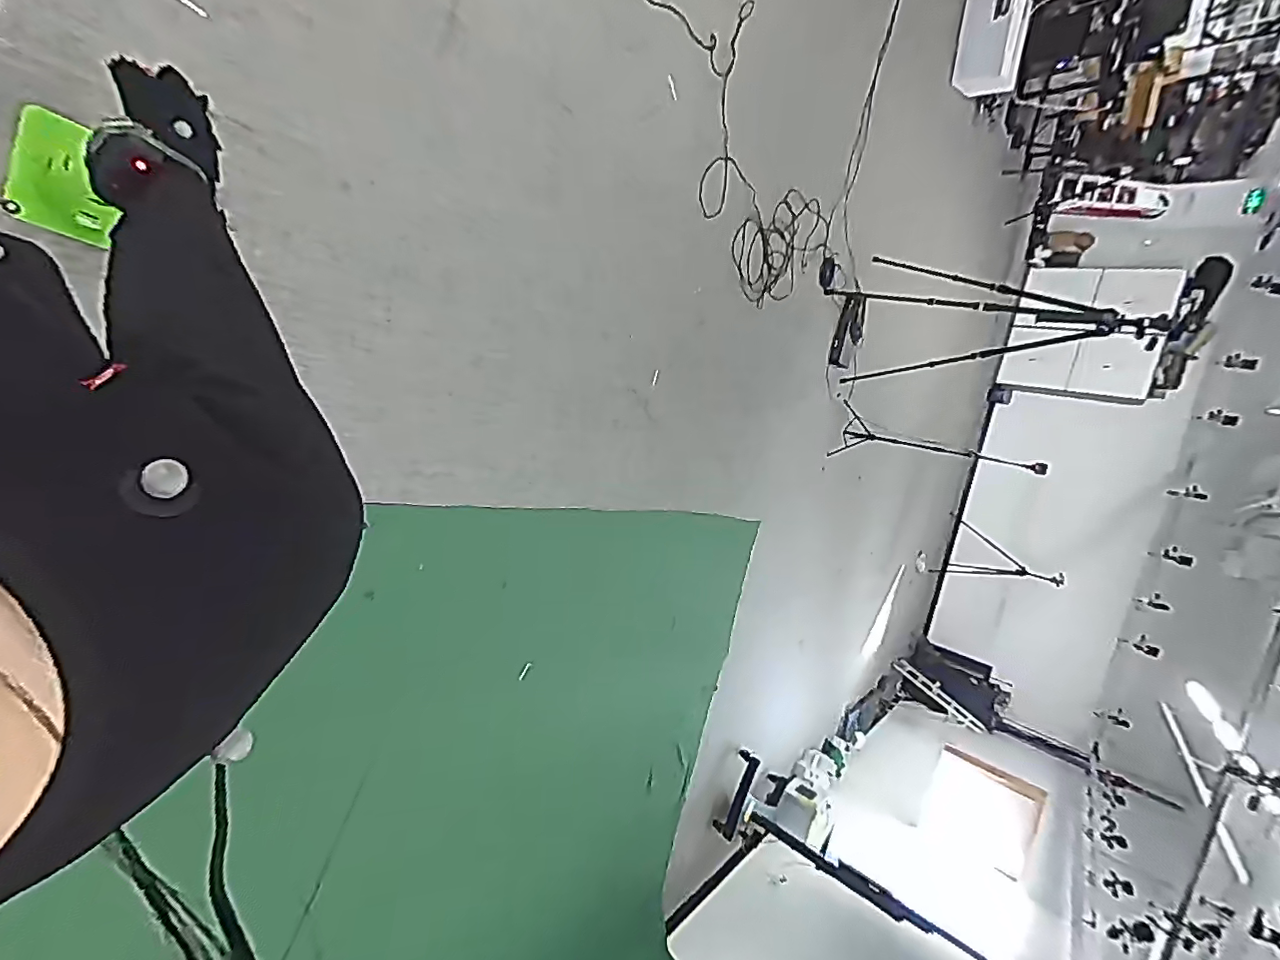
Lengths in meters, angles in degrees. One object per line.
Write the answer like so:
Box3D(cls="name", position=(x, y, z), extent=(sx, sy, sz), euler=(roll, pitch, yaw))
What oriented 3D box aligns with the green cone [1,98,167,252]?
Box3D(cls="green cone", position=(-0.897, -0.519, 0.902), extent=(0.200, 0.368, 0.202), euler=(10, 95, -52))
